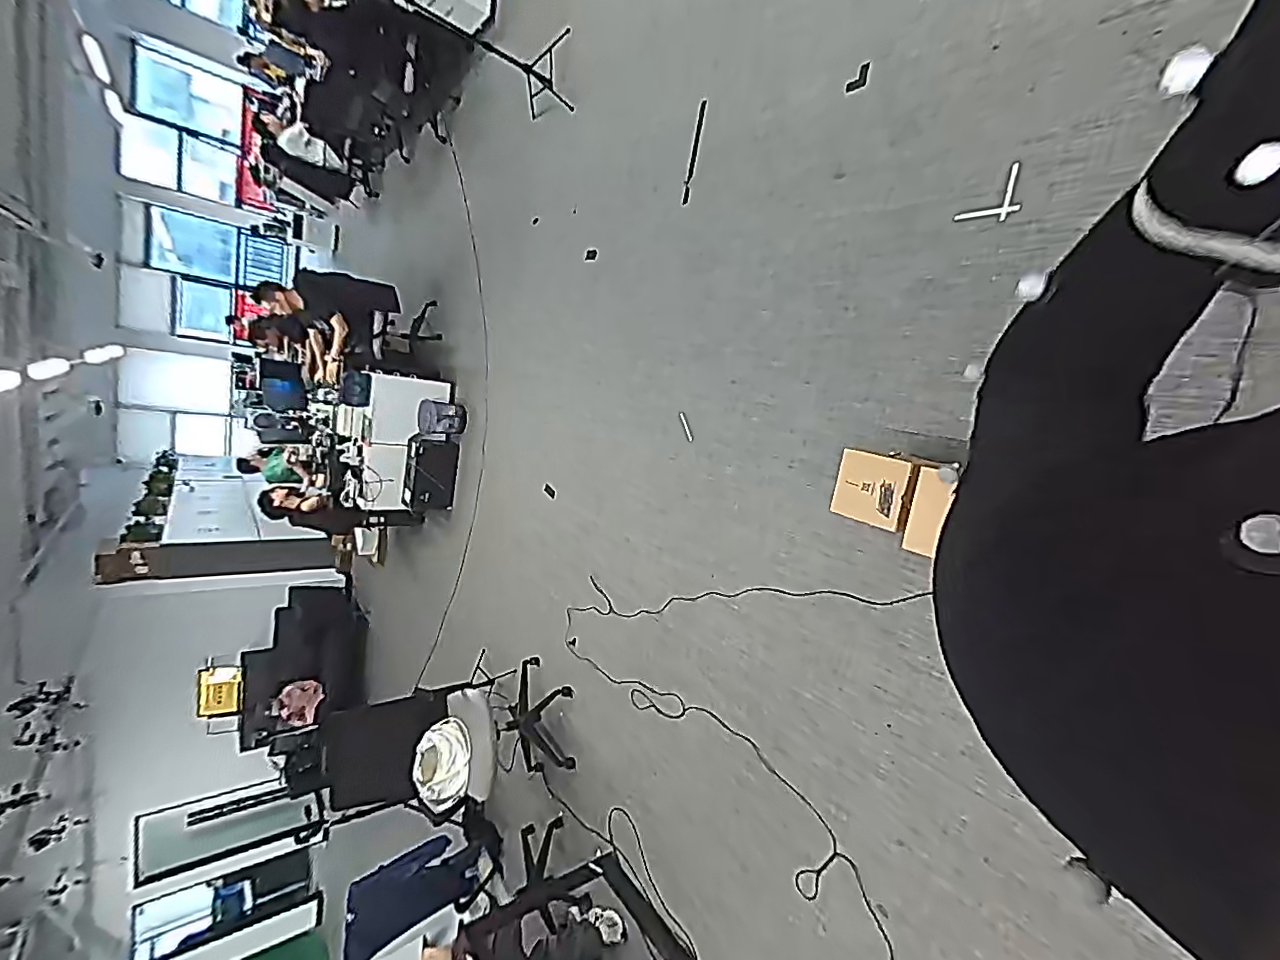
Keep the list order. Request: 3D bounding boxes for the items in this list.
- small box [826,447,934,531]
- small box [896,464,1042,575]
[{"bbox_3d":[0.598,0.020,1.336,0.179,0.176,0.168,23,106,50],"label":"small box"},{"bbox_3d":[0.630,0.072,1.037,0.179,0.176,0.168,20,104,47],"label":"small box"}]
